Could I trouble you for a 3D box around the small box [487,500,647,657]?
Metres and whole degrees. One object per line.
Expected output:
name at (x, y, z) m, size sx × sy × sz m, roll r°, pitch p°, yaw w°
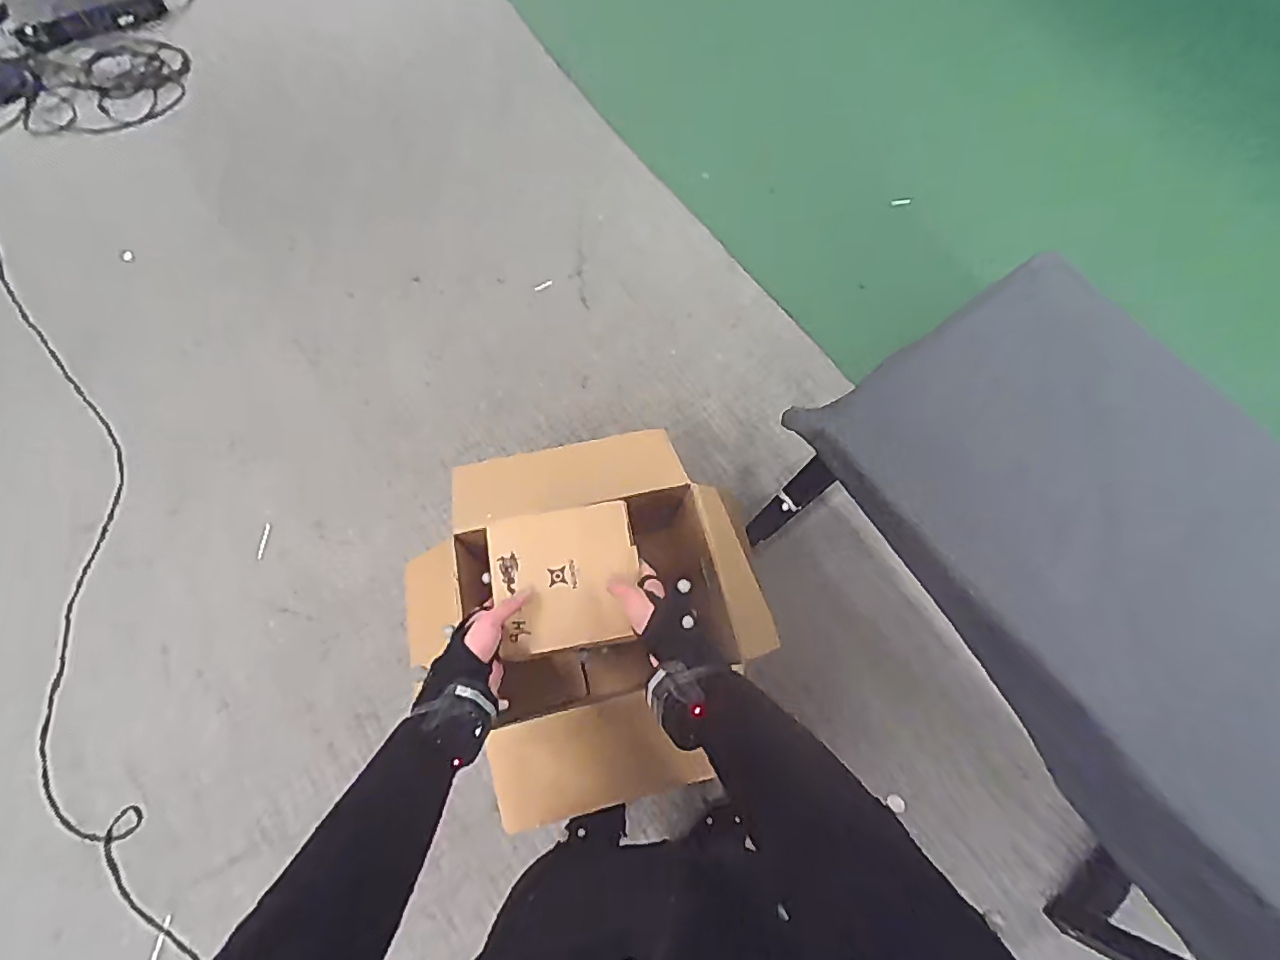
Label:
small box at (-0.095, 0.136, 0.719) m, size 0.179 × 0.176 × 0.168 m, roll -8°, pitch 72°, yaw -6°
